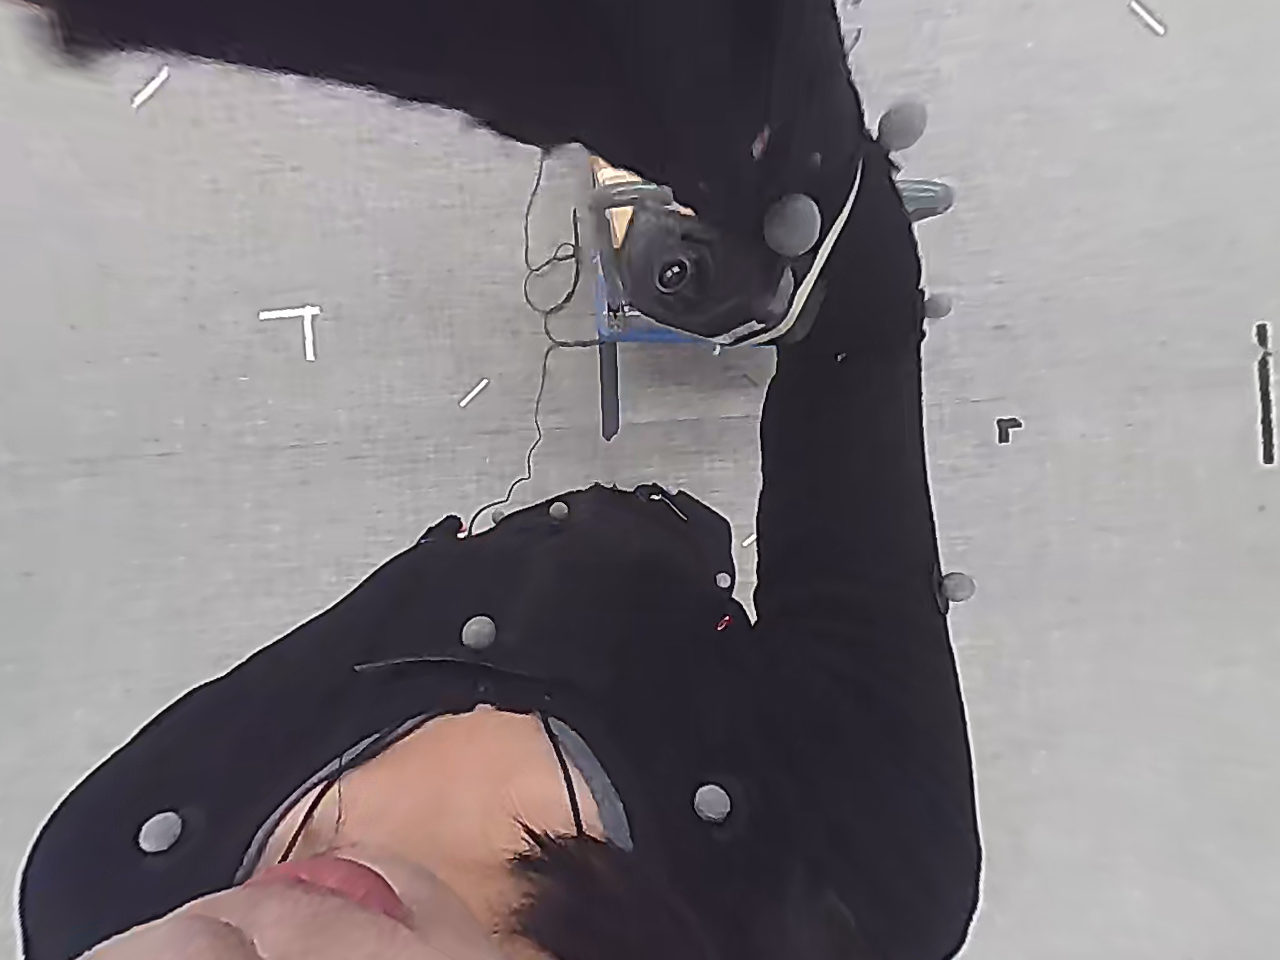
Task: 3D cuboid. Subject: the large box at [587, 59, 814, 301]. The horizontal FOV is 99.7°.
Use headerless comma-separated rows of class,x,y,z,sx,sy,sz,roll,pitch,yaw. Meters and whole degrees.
large box,0.118,-0.649,1.229,0.408,0.320,0.320,-14,89,-1
